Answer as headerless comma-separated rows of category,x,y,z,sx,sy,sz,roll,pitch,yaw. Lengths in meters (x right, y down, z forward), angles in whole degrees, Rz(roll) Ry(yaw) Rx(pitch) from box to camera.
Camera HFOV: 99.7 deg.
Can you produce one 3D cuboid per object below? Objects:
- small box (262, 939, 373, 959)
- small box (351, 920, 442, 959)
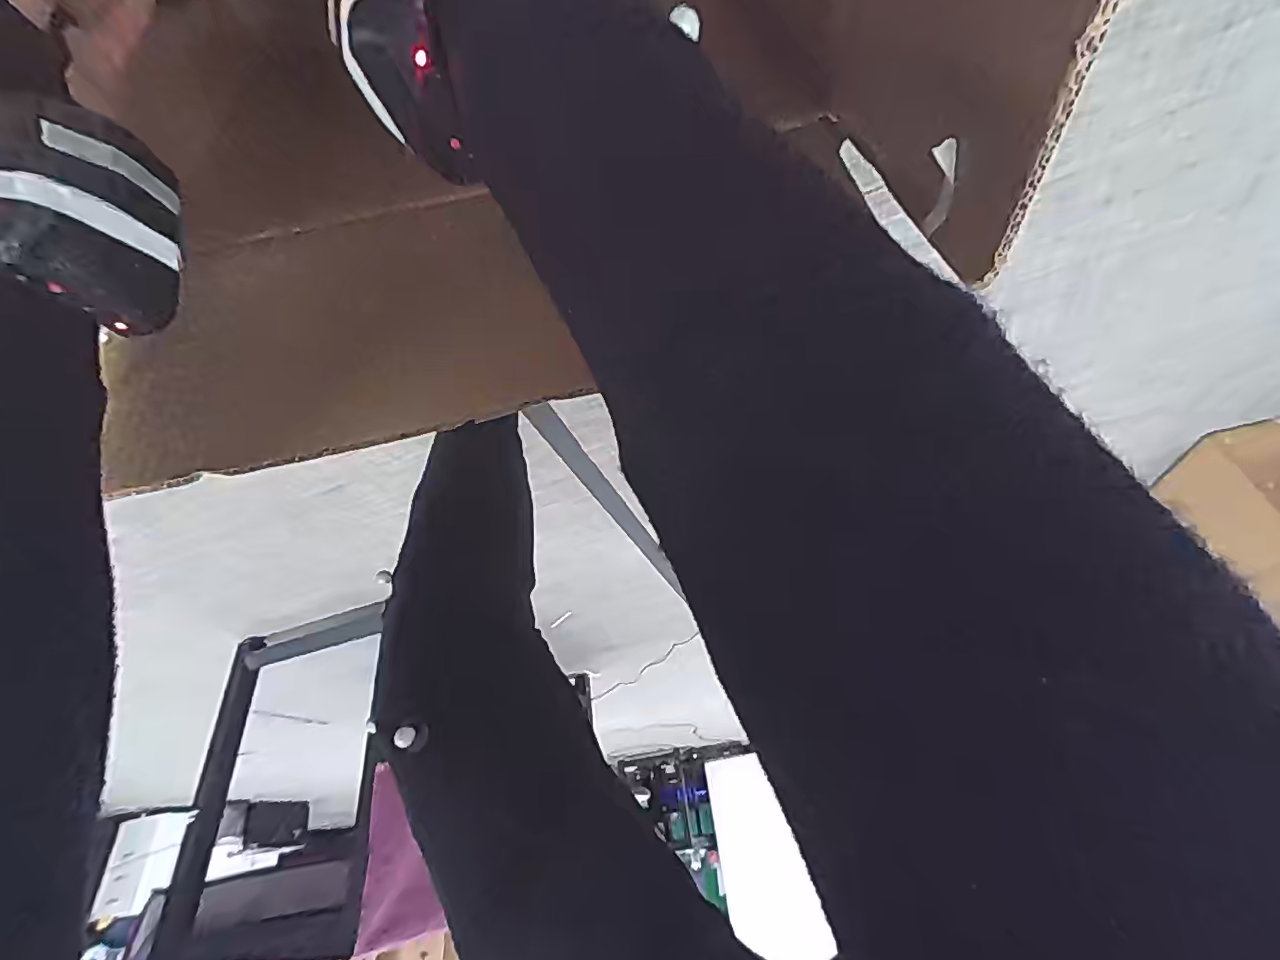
small box,-0.682,1.075,1.119,0.179,0.176,0.168,-19,146,17
small box,-0.595,1.177,1.295,0.179,0.176,0.168,-17,147,12
